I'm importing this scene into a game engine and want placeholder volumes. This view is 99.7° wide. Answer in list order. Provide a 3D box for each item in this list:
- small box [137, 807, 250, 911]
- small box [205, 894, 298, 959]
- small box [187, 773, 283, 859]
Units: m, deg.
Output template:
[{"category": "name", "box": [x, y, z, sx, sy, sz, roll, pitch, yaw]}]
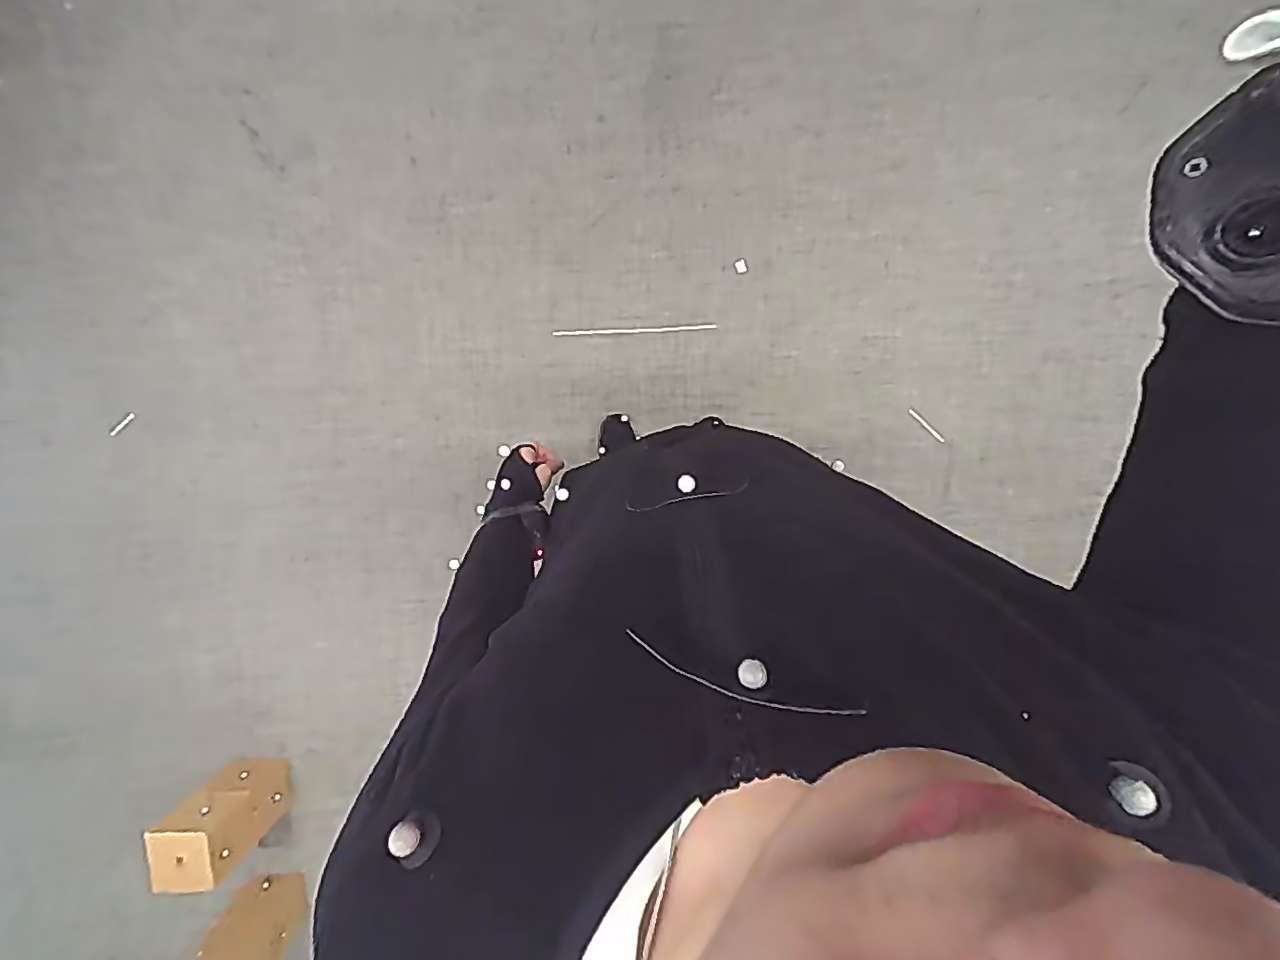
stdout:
[{"category": "small box", "box": [-1.206, 1.021, 1.471, 0.168, 0.176, 0.179, -2, 96, 0]}, {"category": "small box", "box": [-1.187, 1.426, 1.667, 0.168, 0.176, 0.179, -3, 94, 0]}, {"category": "small box", "box": [-1.212, 1.011, 1.633, 0.179, 0.176, 0.168, -1, 94, 0]}]
